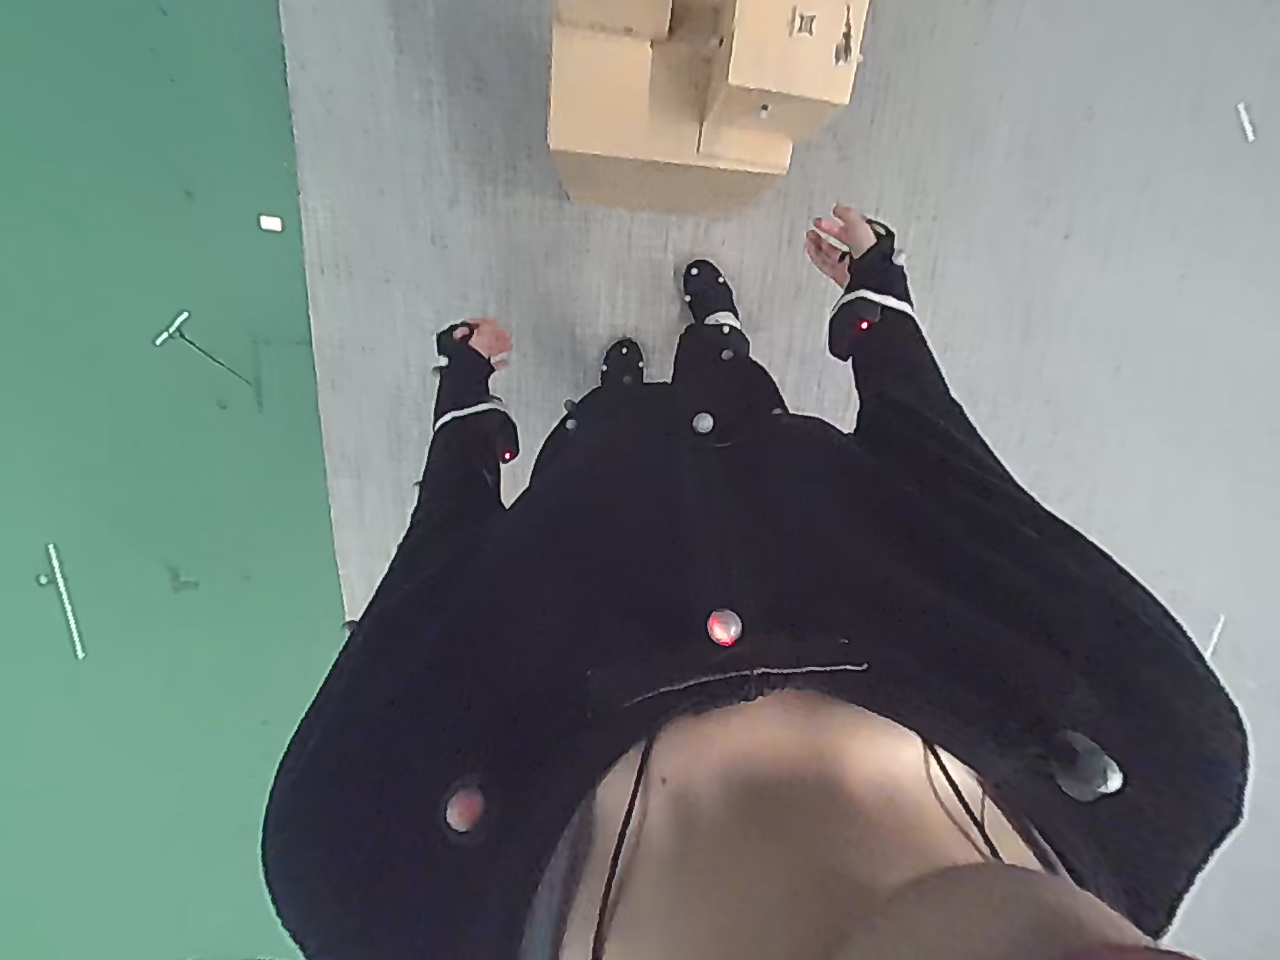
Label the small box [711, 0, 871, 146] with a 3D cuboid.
[{"bbox_3d":[0.208,-0.612,0.790,0.179,0.176,0.168,6,107,-3],"label":"small box"}]
